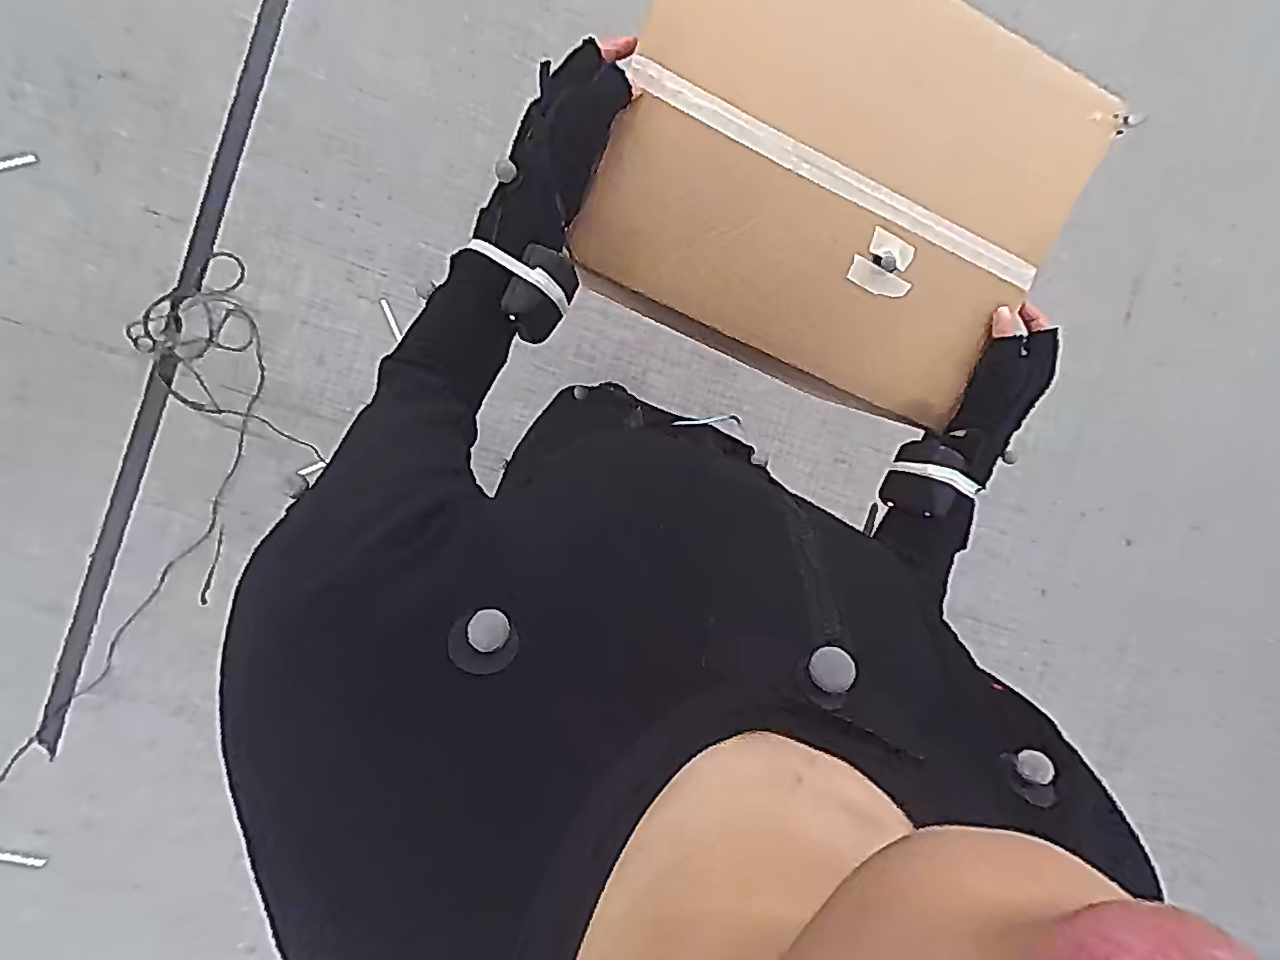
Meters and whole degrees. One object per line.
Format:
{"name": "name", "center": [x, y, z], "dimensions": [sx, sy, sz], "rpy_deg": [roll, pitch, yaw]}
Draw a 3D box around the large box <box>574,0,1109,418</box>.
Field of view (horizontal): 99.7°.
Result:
{"name": "large box", "center": [0.168, -0.309, 0.625], "dimensions": [0.408, 0.320, 0.320], "rpy_deg": [23, 104, -10]}
